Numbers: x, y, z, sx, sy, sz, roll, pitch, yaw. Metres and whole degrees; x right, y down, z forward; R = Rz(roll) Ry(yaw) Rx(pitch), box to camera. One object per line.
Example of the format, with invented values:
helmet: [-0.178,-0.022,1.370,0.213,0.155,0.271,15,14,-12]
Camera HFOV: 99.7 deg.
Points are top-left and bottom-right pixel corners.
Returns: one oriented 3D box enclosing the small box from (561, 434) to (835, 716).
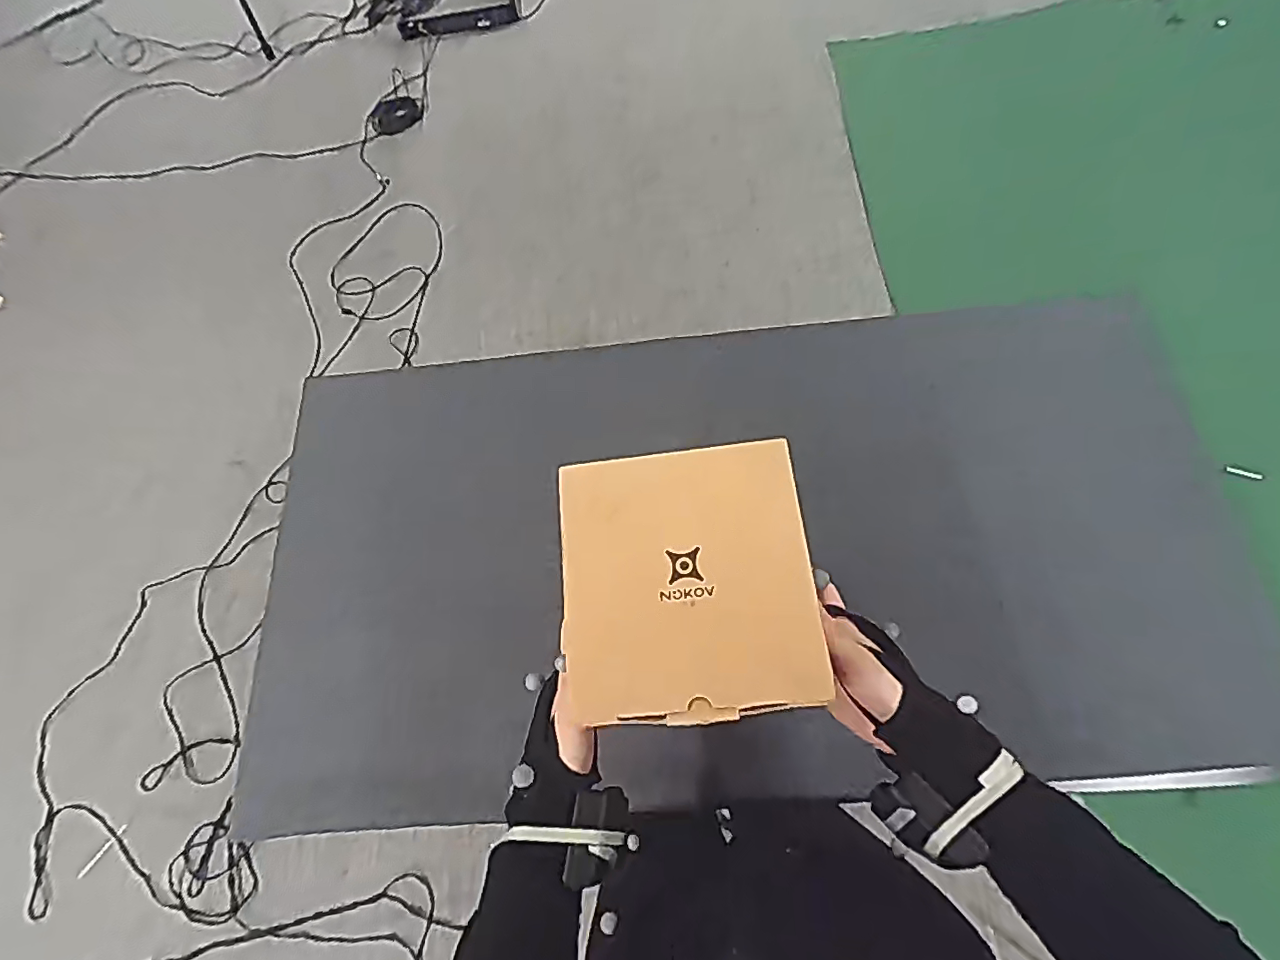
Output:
small box: [0.037,0.084,0.430,0.168,0.176,0.179,-7,70,4]
